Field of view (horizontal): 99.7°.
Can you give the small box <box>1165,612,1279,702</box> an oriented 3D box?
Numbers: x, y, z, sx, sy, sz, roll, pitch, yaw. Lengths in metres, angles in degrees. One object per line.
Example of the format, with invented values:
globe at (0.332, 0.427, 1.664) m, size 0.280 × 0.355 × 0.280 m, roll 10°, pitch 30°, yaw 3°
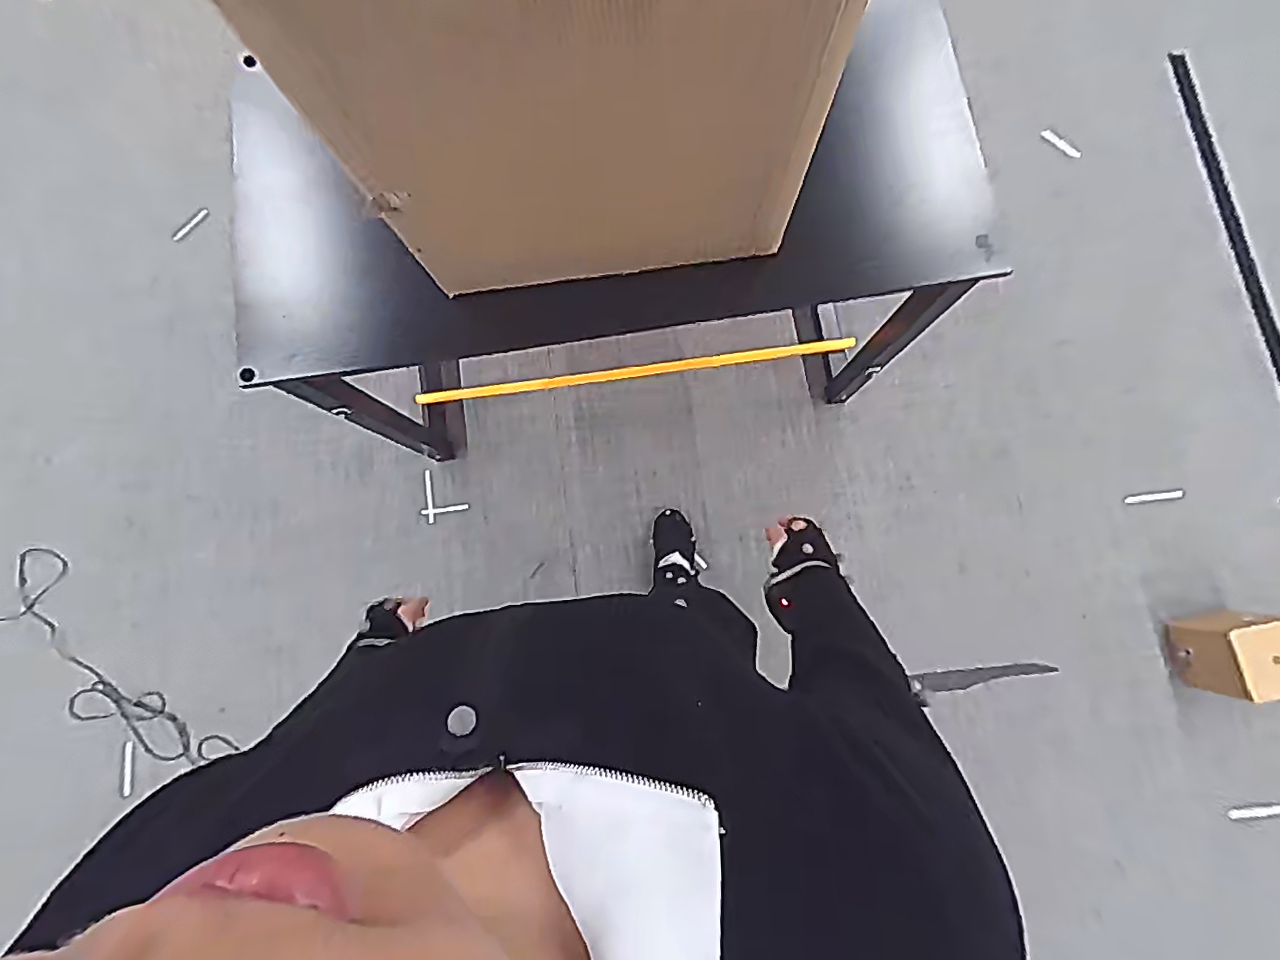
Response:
small box at (1.467, 0.425, 1.325) m, size 0.179 × 0.176 × 0.168 m, roll -12°, pitch 80°, yaw 2°
